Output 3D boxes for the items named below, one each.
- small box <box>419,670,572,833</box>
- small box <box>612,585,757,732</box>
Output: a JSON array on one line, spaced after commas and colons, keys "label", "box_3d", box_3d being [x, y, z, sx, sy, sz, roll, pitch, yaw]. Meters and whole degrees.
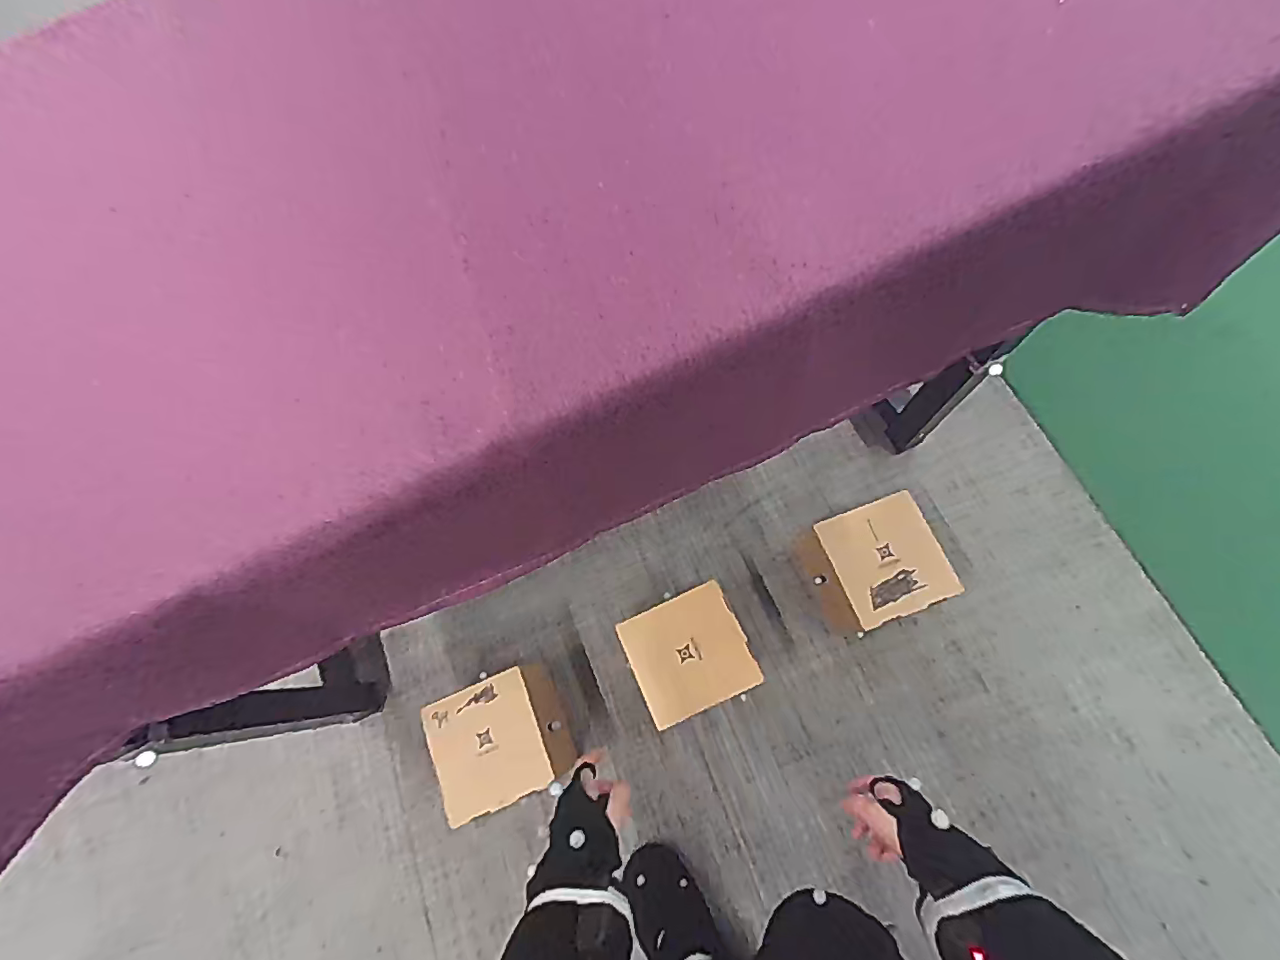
[{"label": "small box", "box_3d": [-0.224, 0.423, 0.878, 0.168, 0.176, 0.179, -24, 72, -5]}, {"label": "small box", "box_3d": [0.073, 0.293, 0.891, 0.179, 0.176, 0.168, -24, 70, -4]}]
